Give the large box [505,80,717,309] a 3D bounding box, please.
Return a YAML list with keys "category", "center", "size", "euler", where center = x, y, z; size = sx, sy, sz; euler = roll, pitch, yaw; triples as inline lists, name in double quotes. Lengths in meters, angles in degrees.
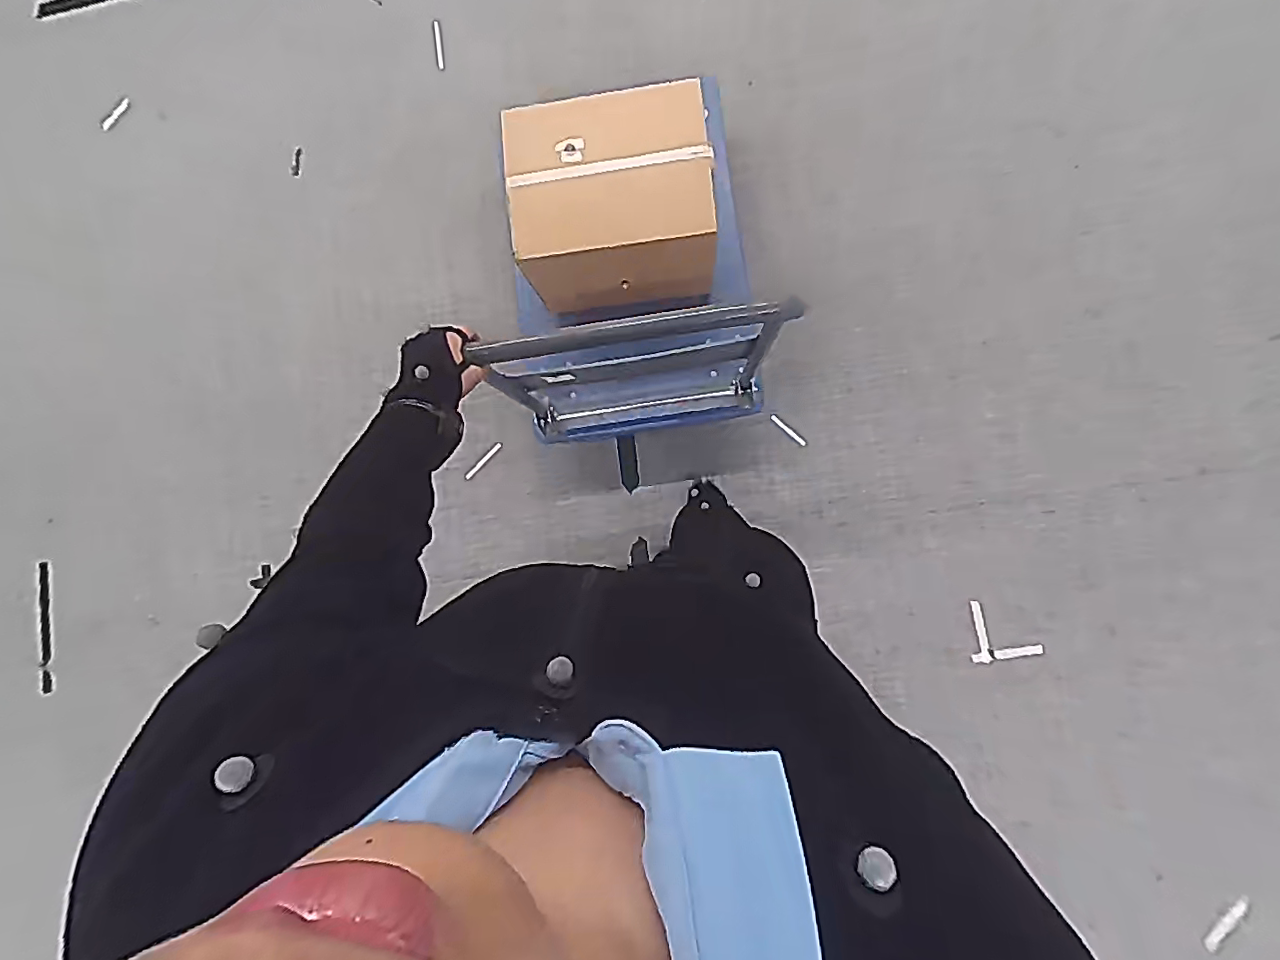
- category: "large box"
  center: [-0.048, -0.609, 1.220]
  size: [0.408, 0.320, 0.320]
  euler: [-6, 86, 6]
